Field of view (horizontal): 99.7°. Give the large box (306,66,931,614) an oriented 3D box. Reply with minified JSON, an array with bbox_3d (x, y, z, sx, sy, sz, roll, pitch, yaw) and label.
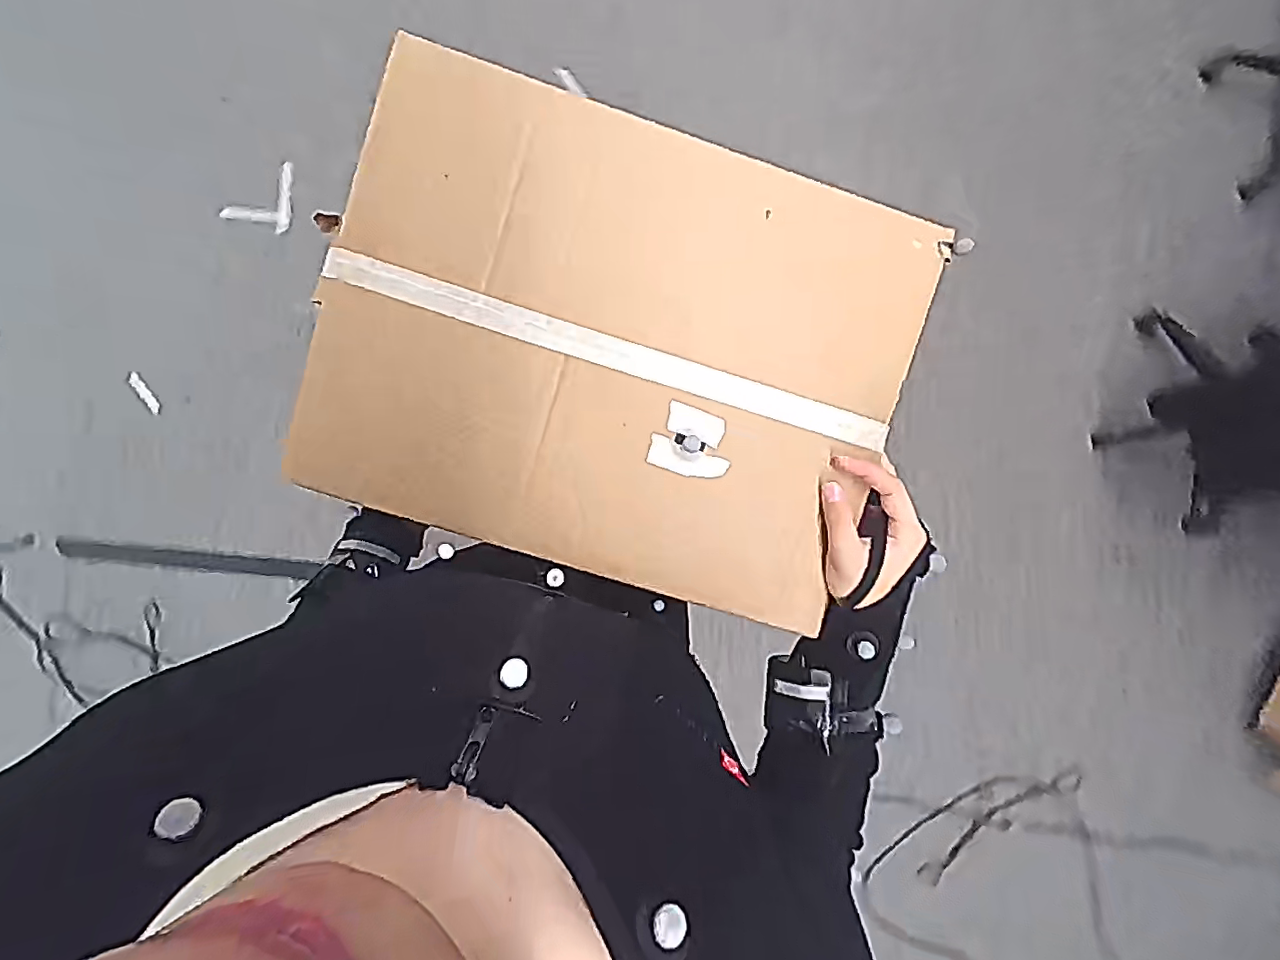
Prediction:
[{"bbox_3d":[-0.023,-0.101,0.540,0.408,0.320,0.320,15,94,-5],"label":"large box"}]
